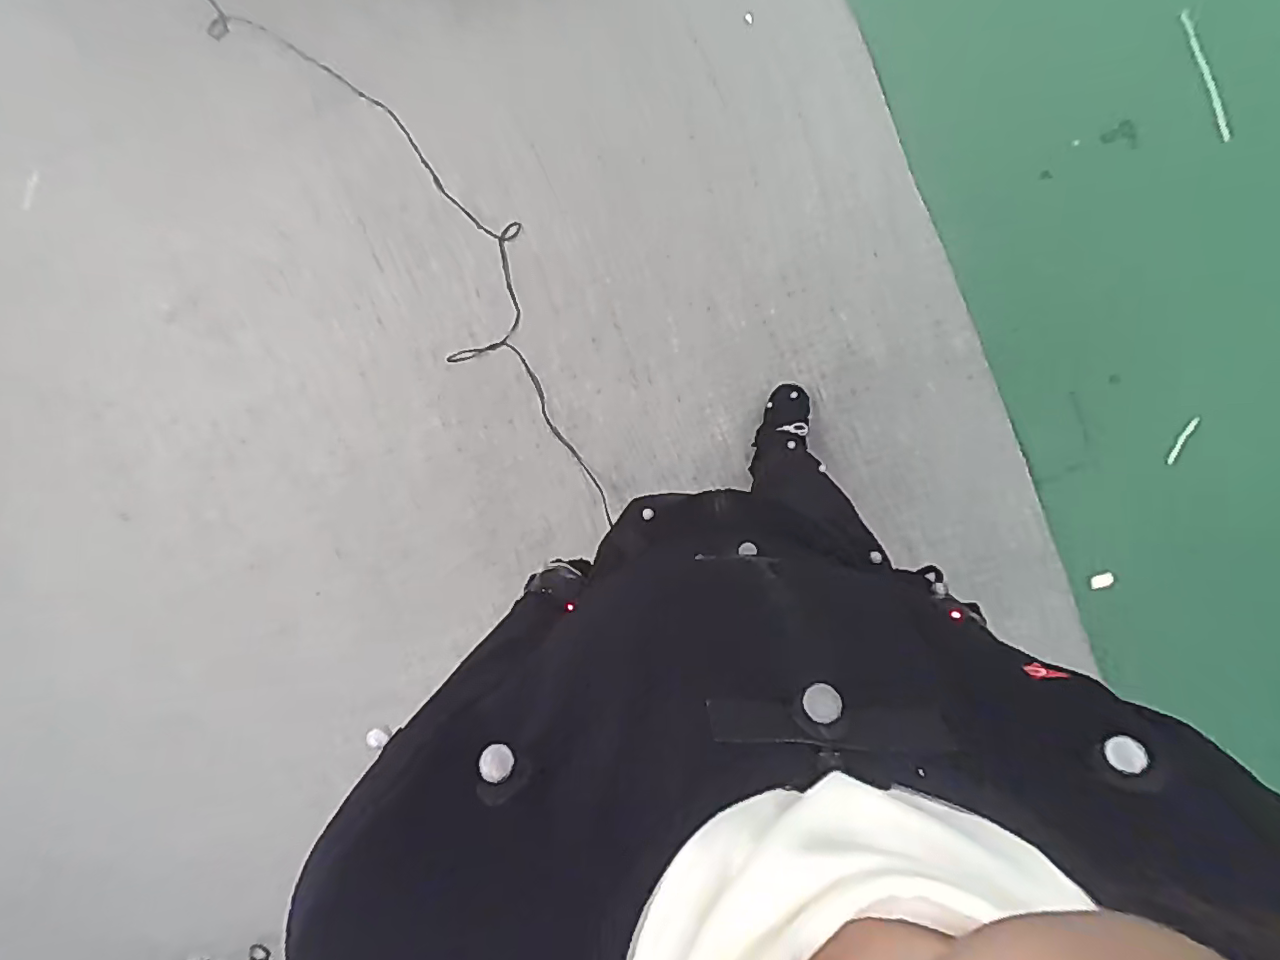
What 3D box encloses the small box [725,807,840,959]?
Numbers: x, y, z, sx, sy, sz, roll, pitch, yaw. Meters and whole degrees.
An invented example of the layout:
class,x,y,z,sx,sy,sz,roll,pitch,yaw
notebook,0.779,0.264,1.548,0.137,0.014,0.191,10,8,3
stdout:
class,x,y,z,sx,sy,sz,roll,pitch,yaw
small box,0.303,0.875,1.190,0.179,0.176,0.168,-36,88,6
